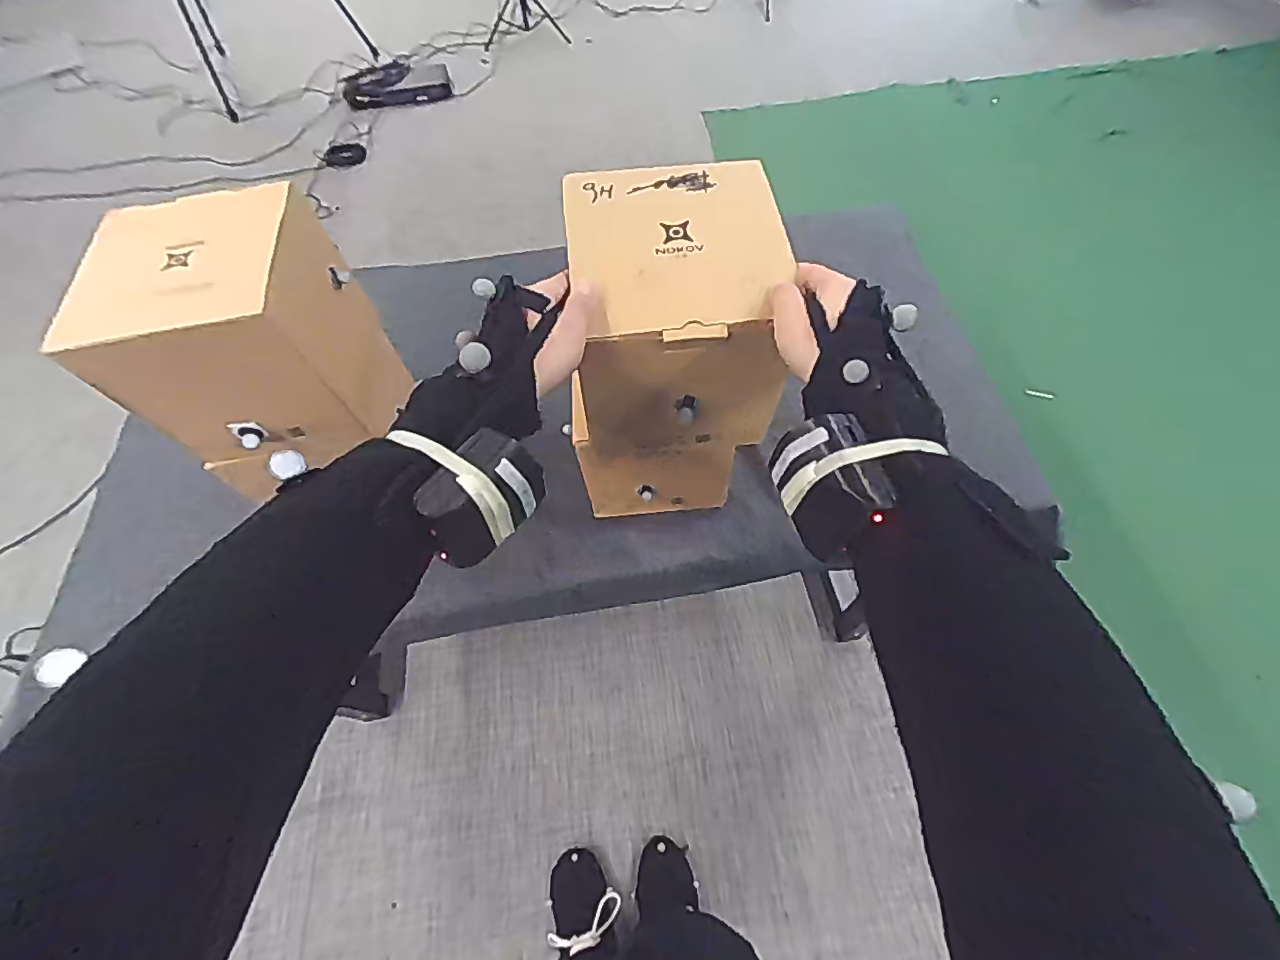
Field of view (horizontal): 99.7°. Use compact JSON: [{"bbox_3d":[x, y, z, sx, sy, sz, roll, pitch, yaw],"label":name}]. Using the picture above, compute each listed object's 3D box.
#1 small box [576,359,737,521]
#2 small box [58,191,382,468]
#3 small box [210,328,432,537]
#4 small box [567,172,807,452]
[{"bbox_3d":[0.014,-0.069,0.650,0.168,0.176,0.179,-5,59,-1],"label":"small box"},{"bbox_3d":[-0.368,-0.137,0.518,0.168,0.176,0.179,-12,60,-3],"label":"small box"},{"bbox_3d":[-0.366,-0.054,0.658,0.168,0.176,0.179,-12,60,-4],"label":"small box"},{"bbox_3d":[0.029,-0.135,0.479,0.168,0.176,0.179,-5,64,-3],"label":"small box"}]
